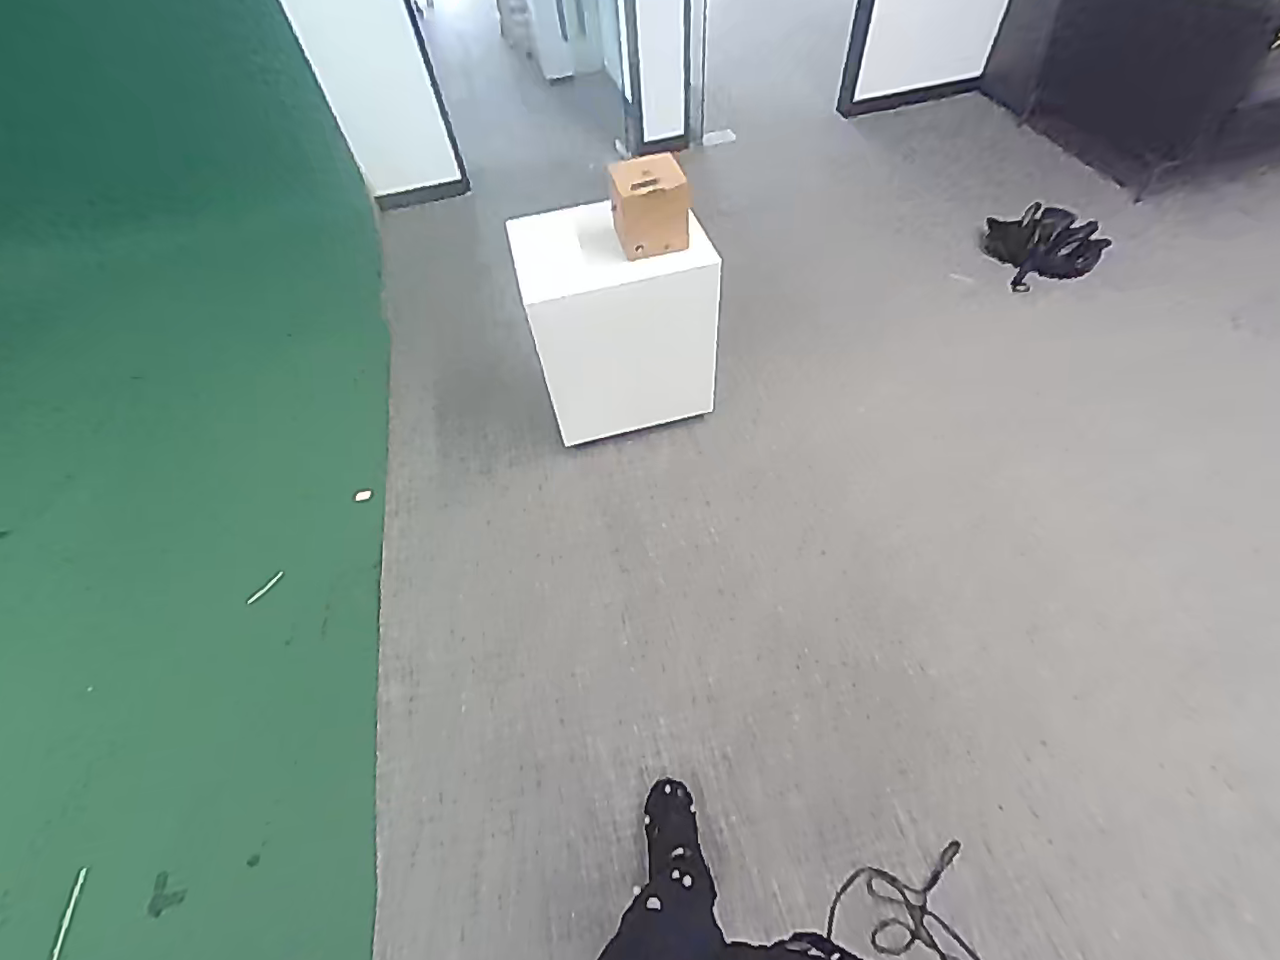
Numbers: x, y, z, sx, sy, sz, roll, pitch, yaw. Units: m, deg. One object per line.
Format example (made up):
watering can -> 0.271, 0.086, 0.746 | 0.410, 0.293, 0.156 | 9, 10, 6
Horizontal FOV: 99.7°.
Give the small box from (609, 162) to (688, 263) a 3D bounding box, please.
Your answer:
small box -> 0.026, -0.678, 1.389 | 0.168, 0.176, 0.179 | -14, 53, -4
